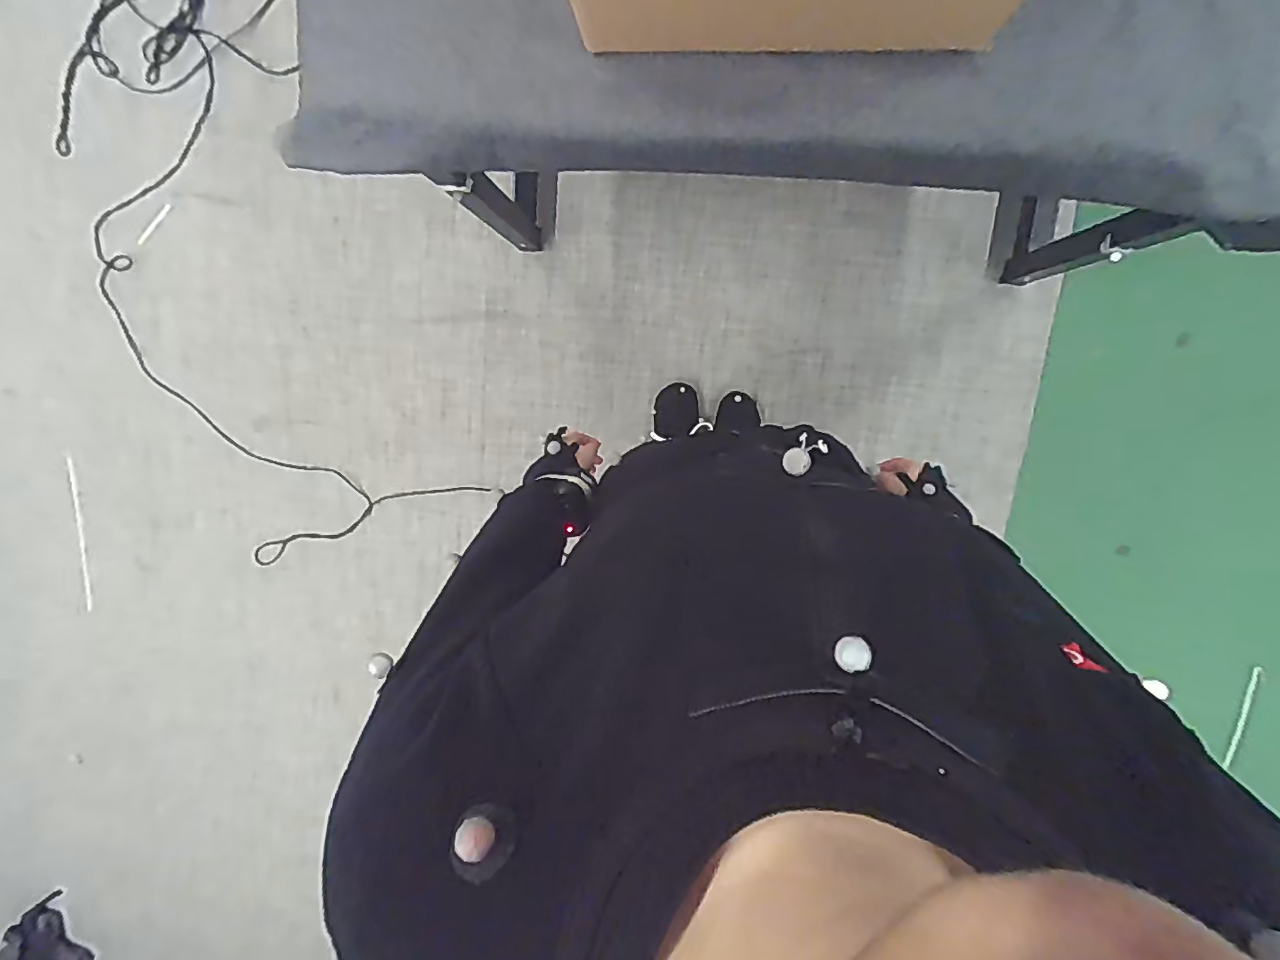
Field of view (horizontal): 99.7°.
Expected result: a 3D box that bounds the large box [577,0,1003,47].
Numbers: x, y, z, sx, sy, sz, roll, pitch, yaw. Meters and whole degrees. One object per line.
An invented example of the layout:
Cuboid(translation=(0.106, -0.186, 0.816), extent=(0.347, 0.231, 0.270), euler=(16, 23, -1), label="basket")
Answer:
Cuboid(translation=(0.133, -0.573, 0.386), extent=(0.408, 0.320, 0.320), euler=(2, 101, 3), label="large box")
